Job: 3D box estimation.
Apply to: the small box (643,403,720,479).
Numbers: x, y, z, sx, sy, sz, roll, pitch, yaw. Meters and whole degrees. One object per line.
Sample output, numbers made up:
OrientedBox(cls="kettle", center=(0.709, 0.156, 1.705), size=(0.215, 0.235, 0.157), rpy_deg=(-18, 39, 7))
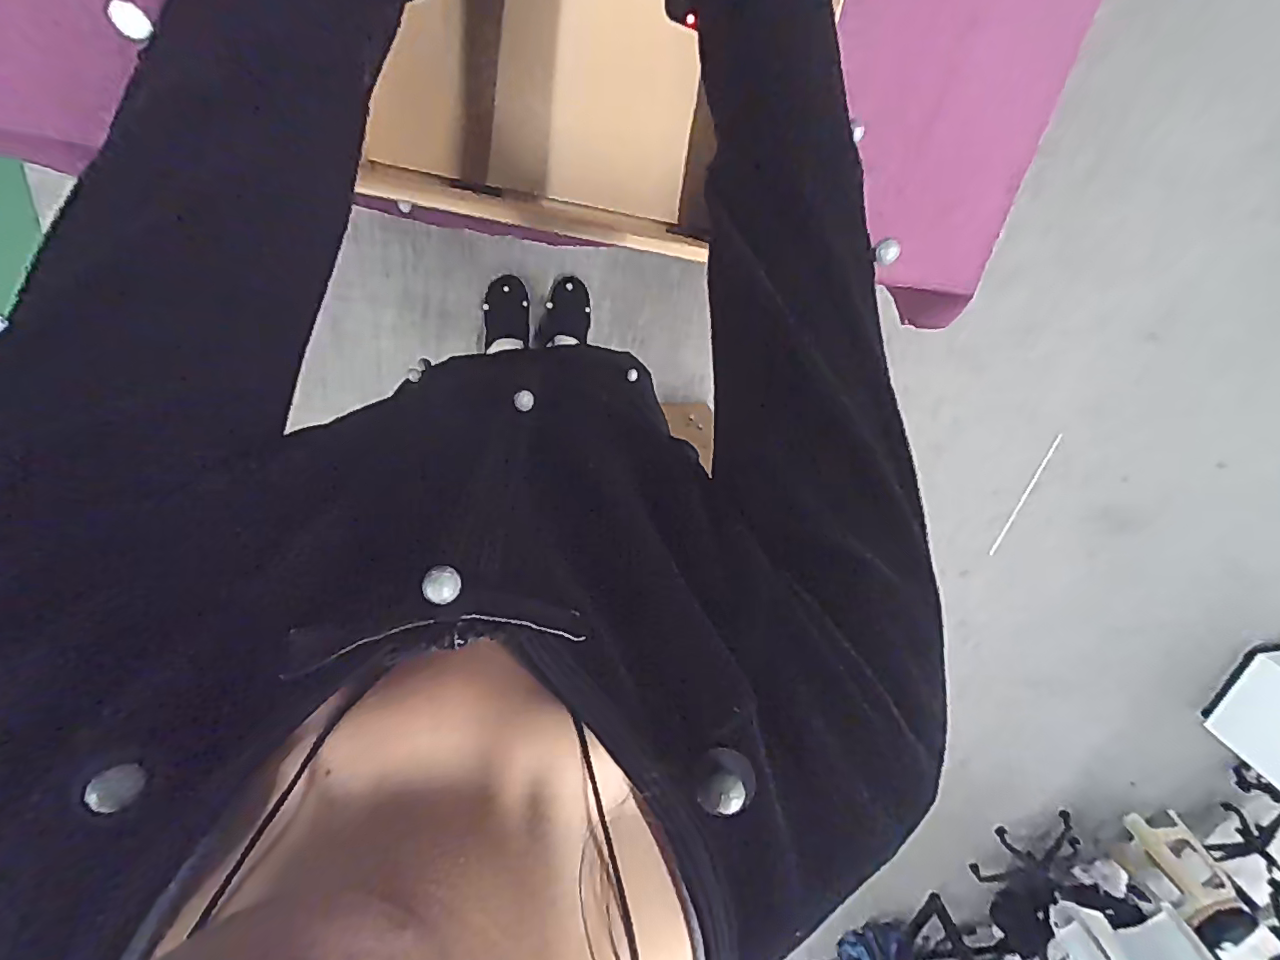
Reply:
OrientedBox(cls="small box", center=(0.109, -0.111, 1.511), size=(0.179, 0.176, 0.168), rpy_deg=(0, 118, -10))
